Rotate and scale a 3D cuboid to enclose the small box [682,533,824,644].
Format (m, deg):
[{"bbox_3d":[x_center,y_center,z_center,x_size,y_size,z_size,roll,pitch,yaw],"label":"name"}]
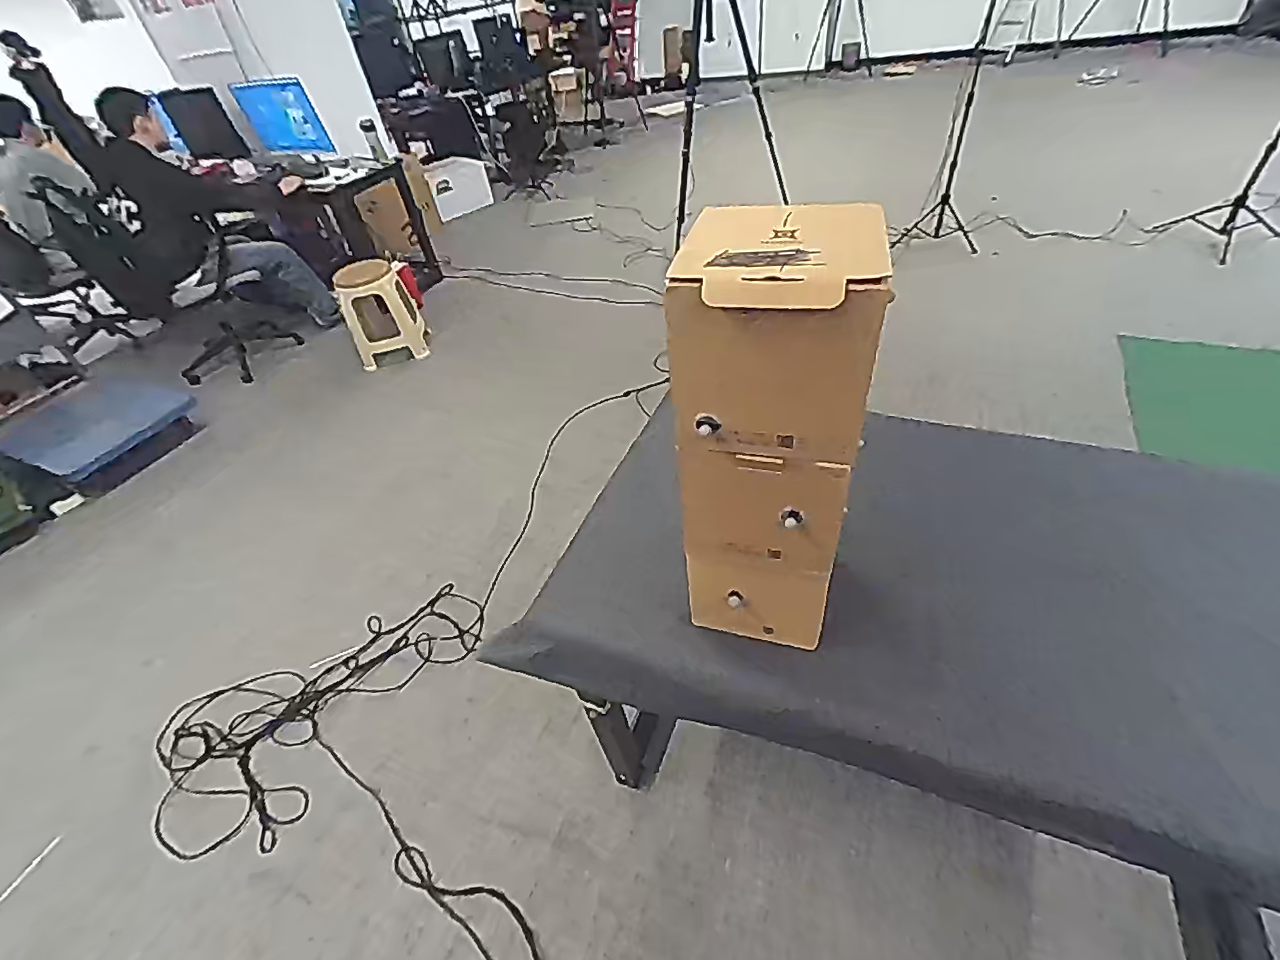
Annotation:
[{"bbox_3d":[0.162,0.094,0.729,0.168,0.176,0.179,8,45,17],"label":"small box"}]

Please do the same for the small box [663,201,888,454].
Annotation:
[{"bbox_3d":[0.126,-0.143,0.506,0.168,0.176,0.179,7,44,15],"label":"small box"}]

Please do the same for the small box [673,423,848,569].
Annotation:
[{"bbox_3d":[0.142,-0.023,0.617,0.168,0.176,0.179,8,44,16],"label":"small box"}]
